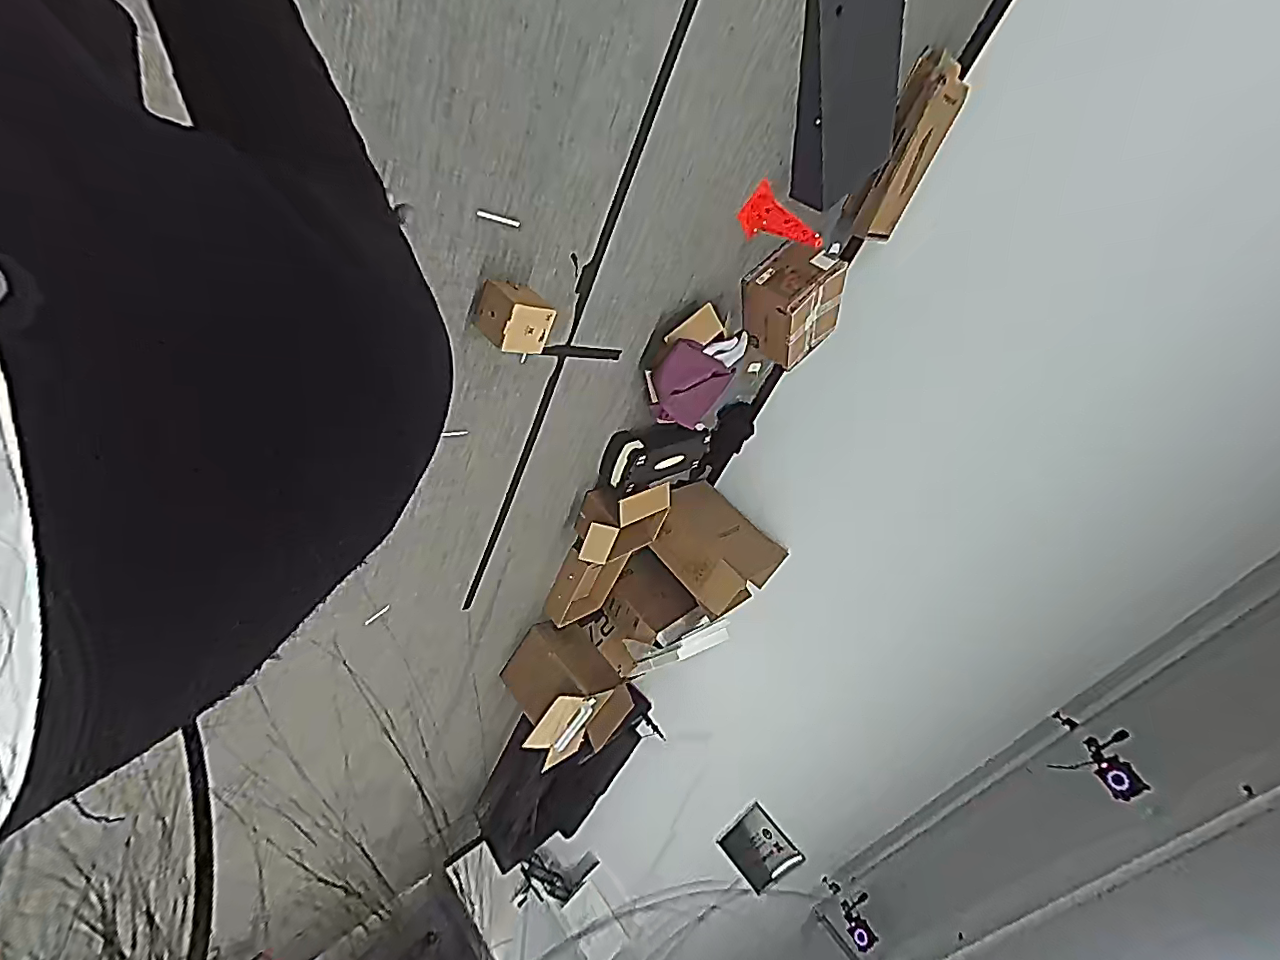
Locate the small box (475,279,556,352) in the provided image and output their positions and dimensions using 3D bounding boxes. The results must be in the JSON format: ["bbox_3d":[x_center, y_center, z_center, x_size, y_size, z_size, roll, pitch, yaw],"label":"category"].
[{"bbox_3d":[-0.414,-0.542,1.784,0.179,0.176,0.168,-10,136,-50],"label":"small box"}]
